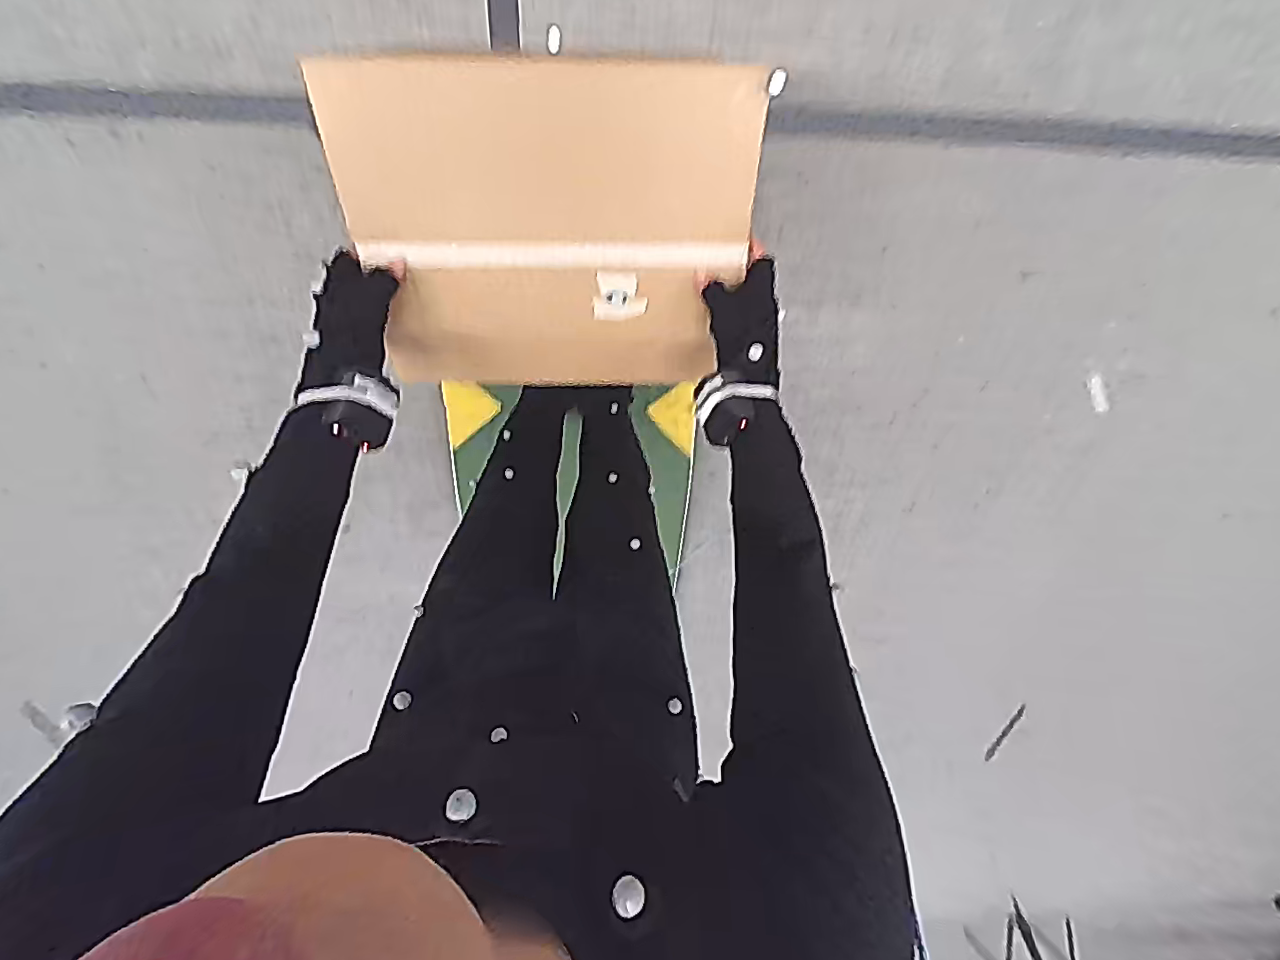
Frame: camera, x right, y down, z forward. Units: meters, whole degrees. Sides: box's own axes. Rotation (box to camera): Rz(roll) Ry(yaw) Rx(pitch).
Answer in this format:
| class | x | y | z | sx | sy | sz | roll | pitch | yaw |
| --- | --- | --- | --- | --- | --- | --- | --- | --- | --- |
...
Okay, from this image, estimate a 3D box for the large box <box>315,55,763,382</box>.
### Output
| class | x | y | z | sx | sy | sz | roll | pitch | yaw |
| --- | --- | --- | --- | --- | --- | --- | --- | --- | --- |
| large box | -0.095 | -0.339 | 0.683 | 0.408 | 0.320 | 0.320 | -2 | 130 | -2 |
